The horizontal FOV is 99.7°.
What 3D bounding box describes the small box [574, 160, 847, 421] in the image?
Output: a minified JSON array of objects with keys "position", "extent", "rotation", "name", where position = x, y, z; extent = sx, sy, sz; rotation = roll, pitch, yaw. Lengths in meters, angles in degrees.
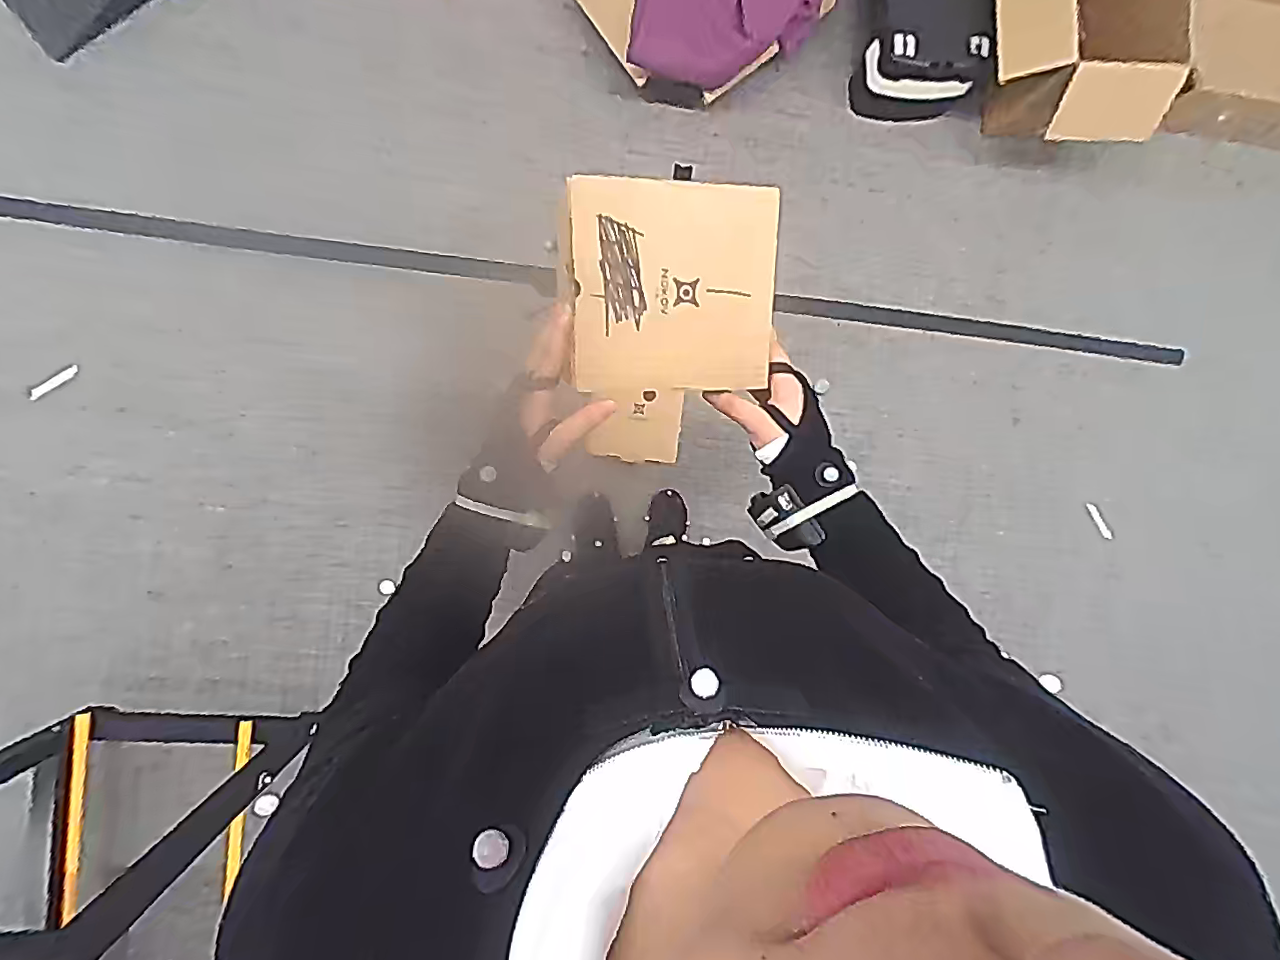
[{"position":[0.038,-0.141,0.442],"extent":[0.179,0.176,0.168],"rotation":[-3,106,-12],"name":"small box"}]
